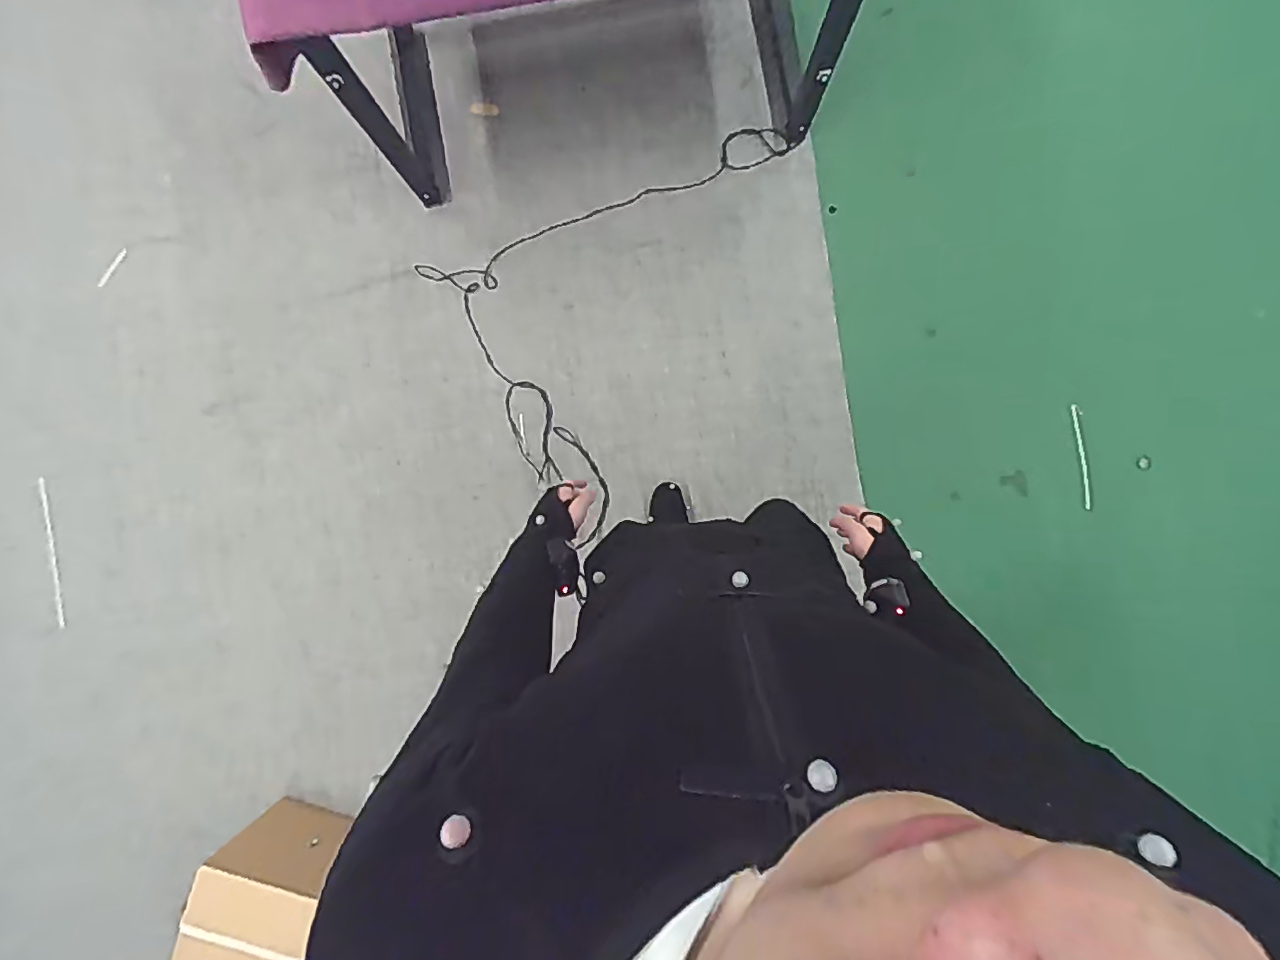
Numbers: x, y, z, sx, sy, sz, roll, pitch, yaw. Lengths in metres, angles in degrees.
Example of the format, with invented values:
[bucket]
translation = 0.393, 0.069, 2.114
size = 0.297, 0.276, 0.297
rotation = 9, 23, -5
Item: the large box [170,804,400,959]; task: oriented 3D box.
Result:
[large box]
translation = -0.953, 1.167, 1.487
size = 0.408, 0.320, 0.320
rotation = 15, 90, 1
